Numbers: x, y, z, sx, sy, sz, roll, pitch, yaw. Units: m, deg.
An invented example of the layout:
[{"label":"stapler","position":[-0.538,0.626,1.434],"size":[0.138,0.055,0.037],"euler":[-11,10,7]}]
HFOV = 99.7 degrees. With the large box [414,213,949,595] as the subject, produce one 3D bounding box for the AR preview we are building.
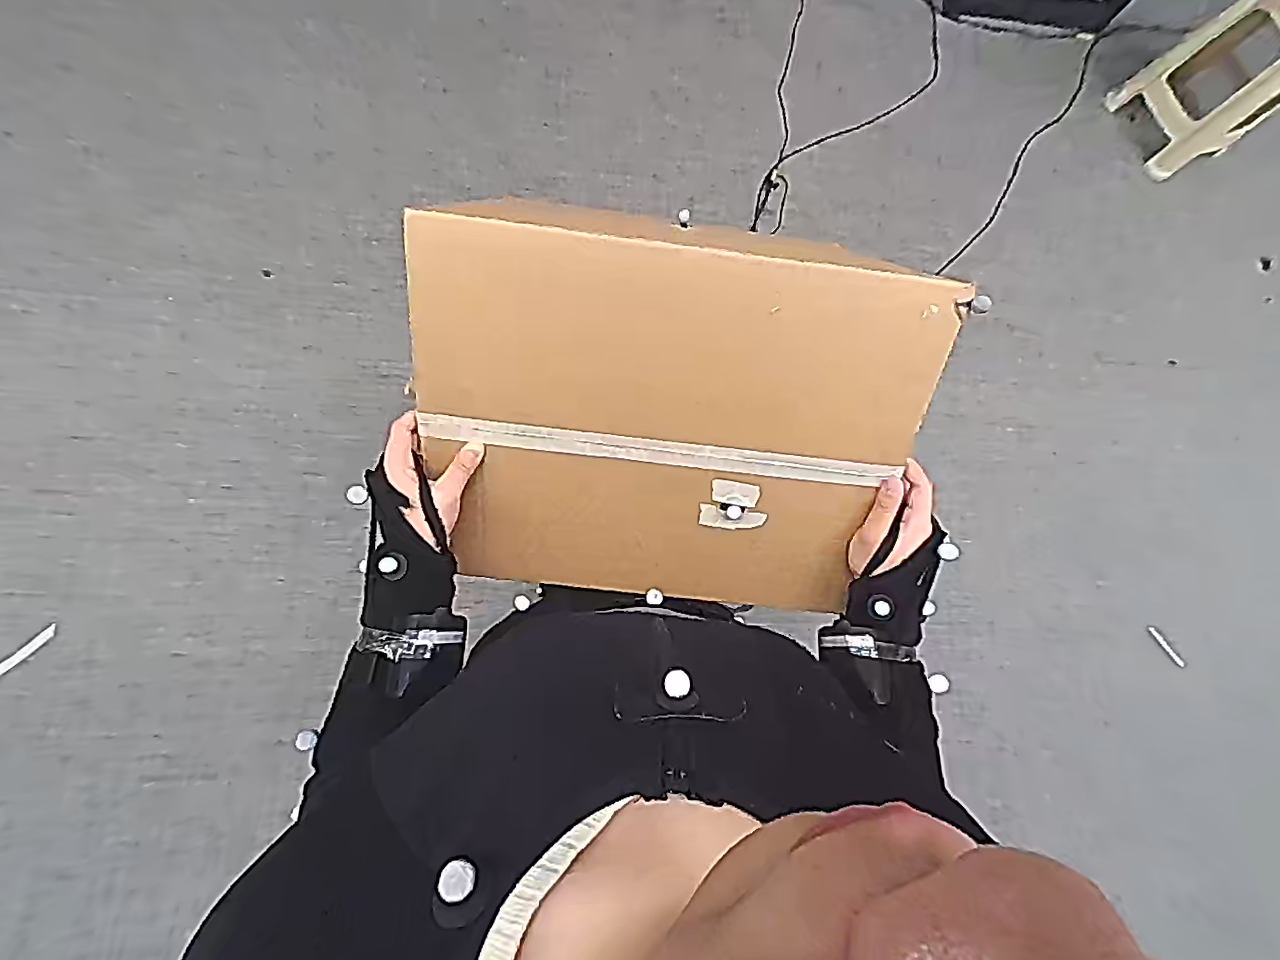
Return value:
[{"label":"large box","position":[0.018,-0.102,0.594],"size":[0.408,0.320,0.320],"euler":[5,120,-4]}]
